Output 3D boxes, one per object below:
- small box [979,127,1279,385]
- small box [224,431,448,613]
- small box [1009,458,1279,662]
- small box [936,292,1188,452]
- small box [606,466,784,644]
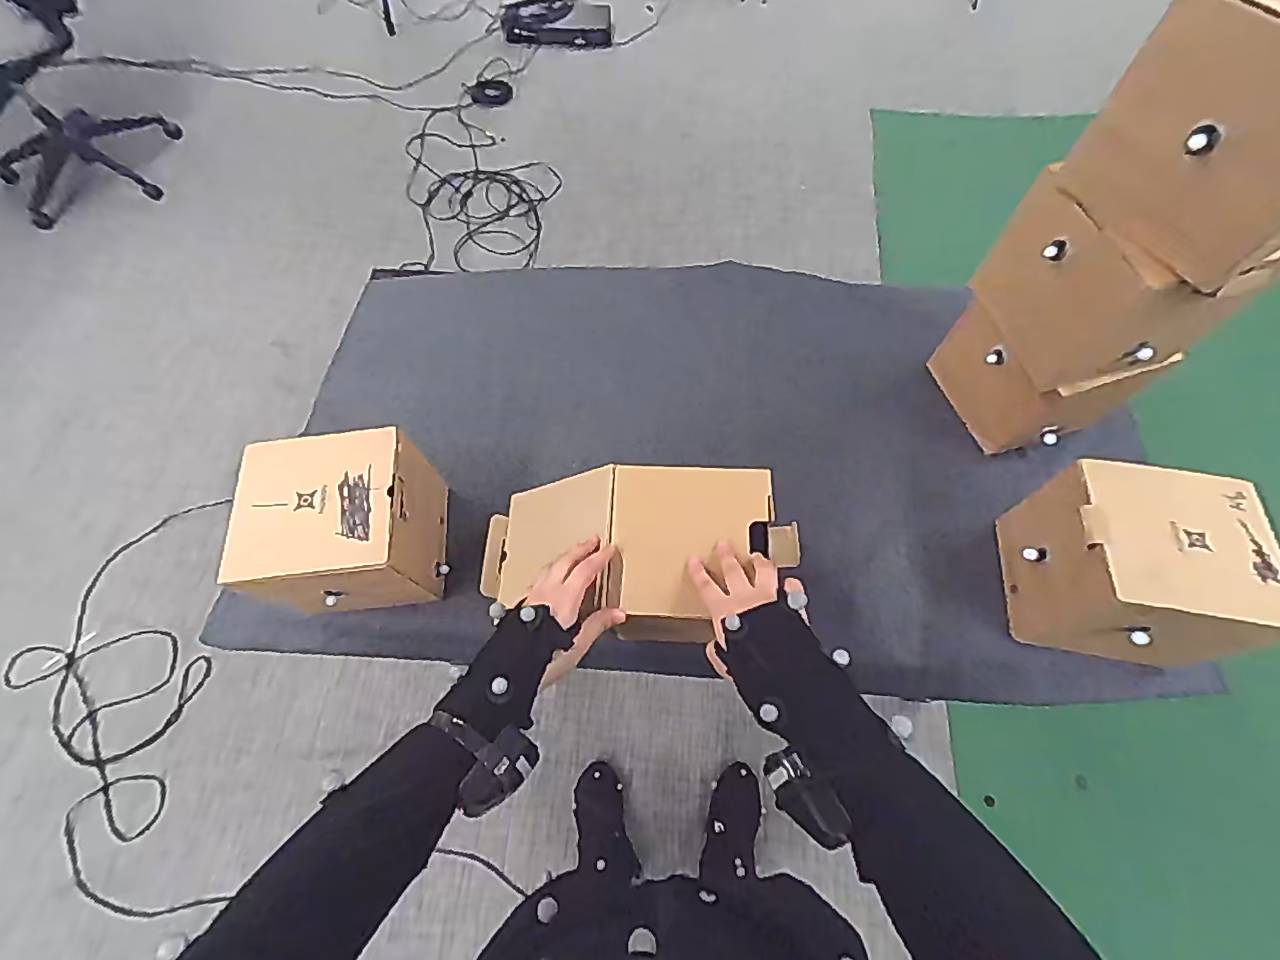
[{"bbox_3d":[0.515,-0.233,0.585,0.168,0.176,0.179,-14,66,-1],"label":"small box"},{"bbox_3d":[-0.345,0.059,0.656,0.179,0.176,0.168,-7,66,-1],"label":"small box"},{"bbox_3d":[0.550,0.096,0.608,0.179,0.176,0.168,8,62,7],"label":"small box"},{"bbox_3d":[0.545,-0.165,0.734,0.168,0.176,0.179,-18,68,-3],"label":"small box"},{"bbox_3d":[0.059,0.094,0.629,0.179,0.176,0.168,1,65,2],"label":"small box"}]
